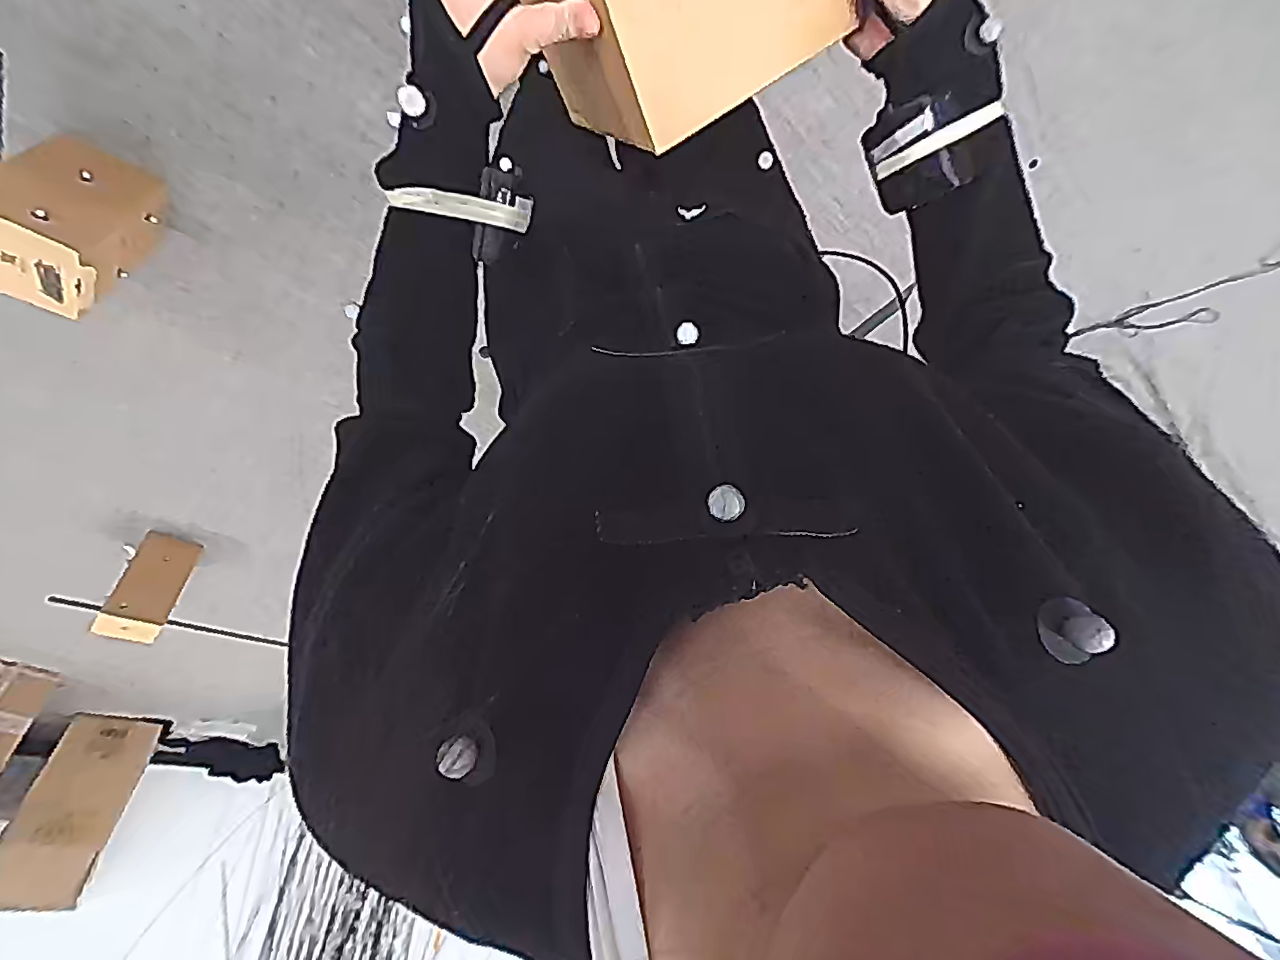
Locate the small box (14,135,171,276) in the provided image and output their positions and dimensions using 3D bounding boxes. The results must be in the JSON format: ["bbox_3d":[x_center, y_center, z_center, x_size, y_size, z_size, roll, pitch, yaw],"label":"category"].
[{"bbox_3d":[-1.109,-0.564,1.109,0.179,0.176,0.168,23,130,-29],"label":"small box"}]

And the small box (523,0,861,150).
[{"bbox_3d":[0.014,-0.355,0.353,0.168,0.176,0.179,-34,133,-2],"label":"small box"}]

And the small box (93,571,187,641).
[{"bbox_3d":[-1.749,0.437,1.897,0.179,0.176,0.168,30,128,-36],"label":"small box"}]

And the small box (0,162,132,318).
[{"bbox_3d":[-1.089,-0.444,0.998,0.179,0.176,0.168,24,130,-30],"label":"small box"}]
